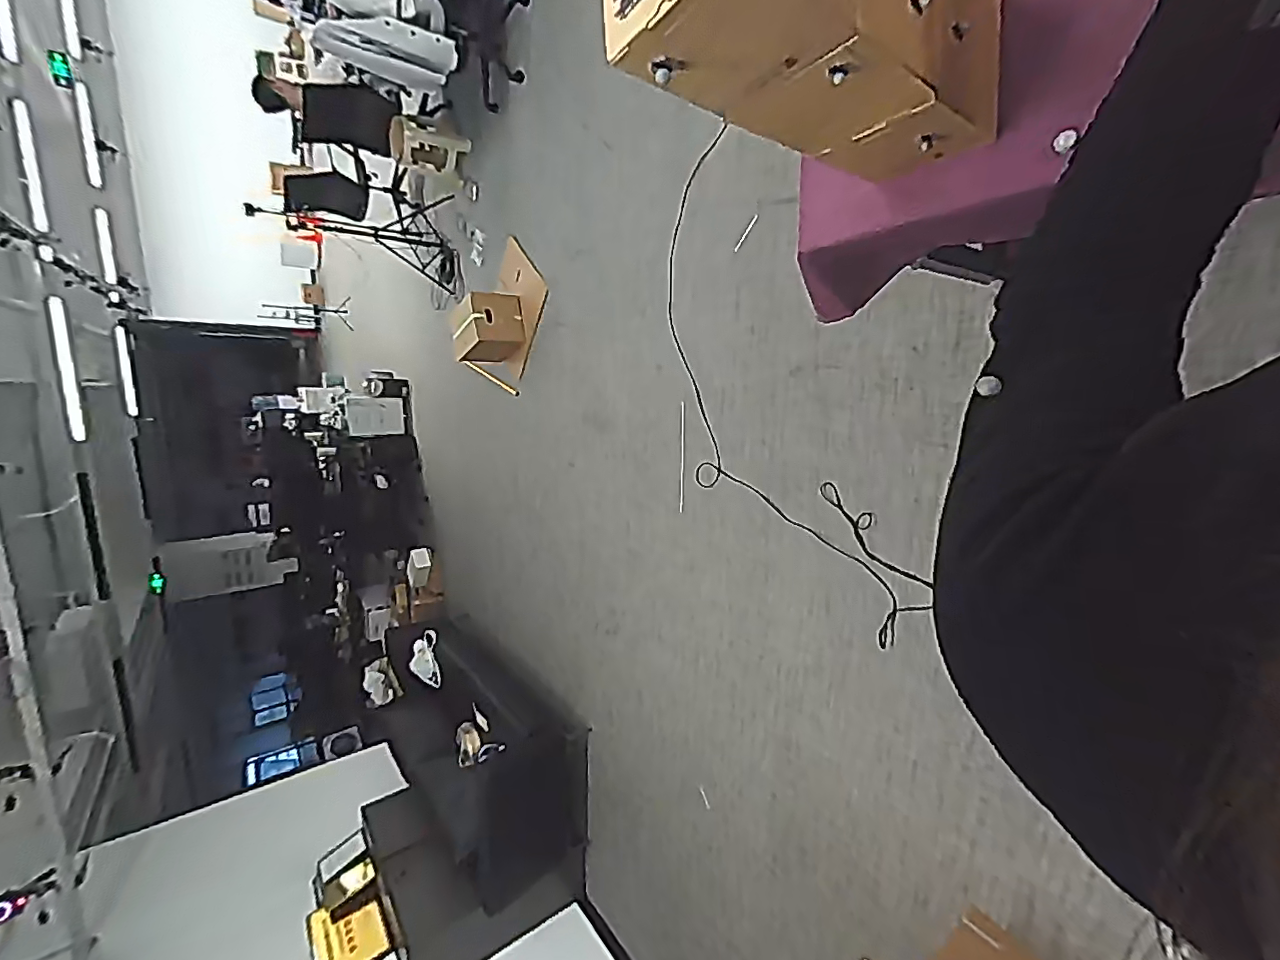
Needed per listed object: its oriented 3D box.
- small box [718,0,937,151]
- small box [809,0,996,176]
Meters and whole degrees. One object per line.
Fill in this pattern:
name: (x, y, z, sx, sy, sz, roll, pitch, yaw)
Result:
small box: (0.207, -0.505, 0.608, 0.179, 0.176, 0.168, 4, 99, 51)
small box: (0.338, -0.520, 0.702, 0.168, 0.176, 0.179, 8, 101, 51)
